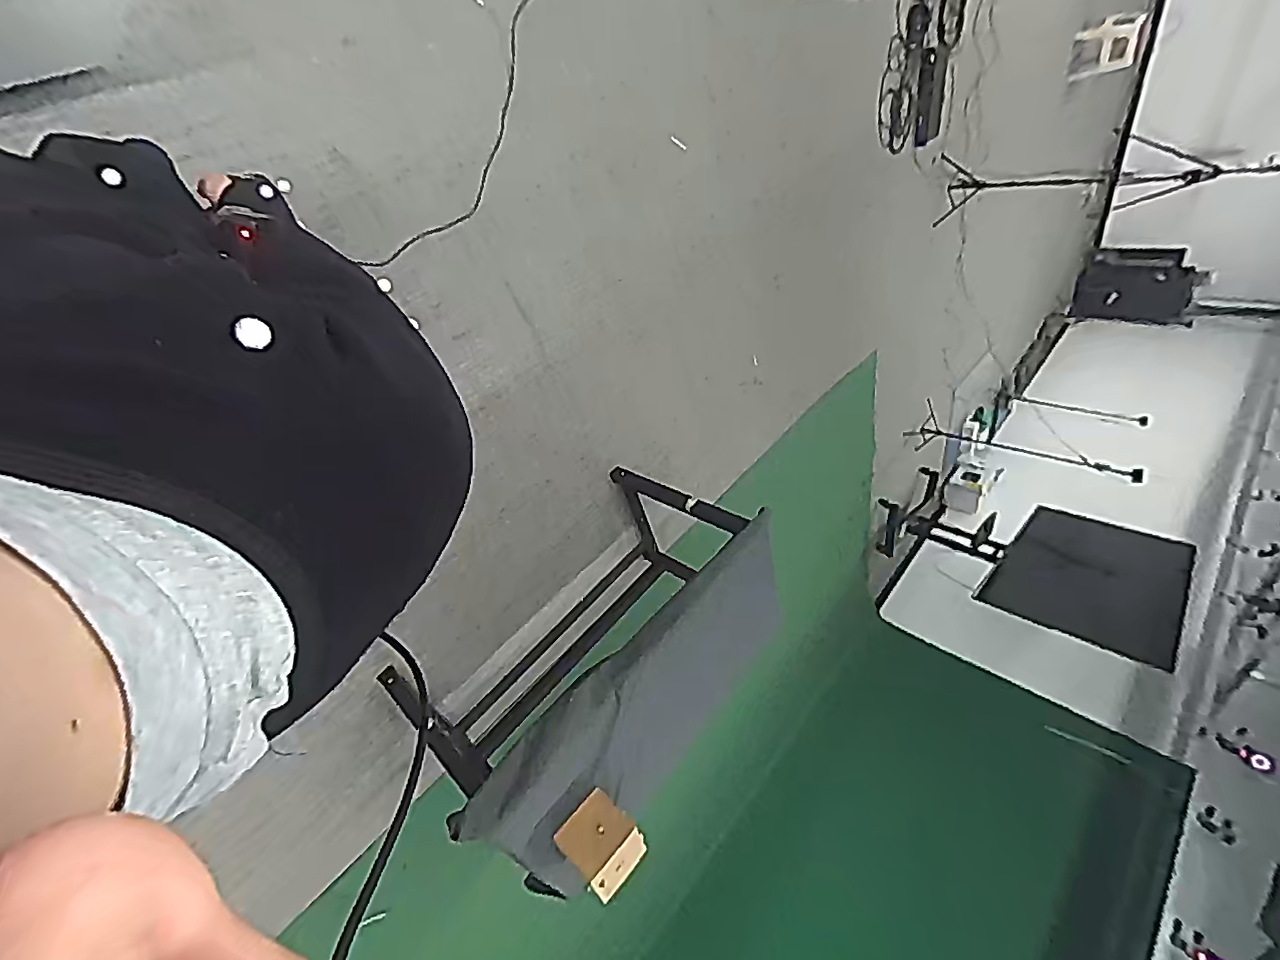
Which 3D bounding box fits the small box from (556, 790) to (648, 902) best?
[{"bbox_3d":[-0.107,1.034,1.540,0.179,0.176,0.168,-39,132,-30],"label":"small box"}]
